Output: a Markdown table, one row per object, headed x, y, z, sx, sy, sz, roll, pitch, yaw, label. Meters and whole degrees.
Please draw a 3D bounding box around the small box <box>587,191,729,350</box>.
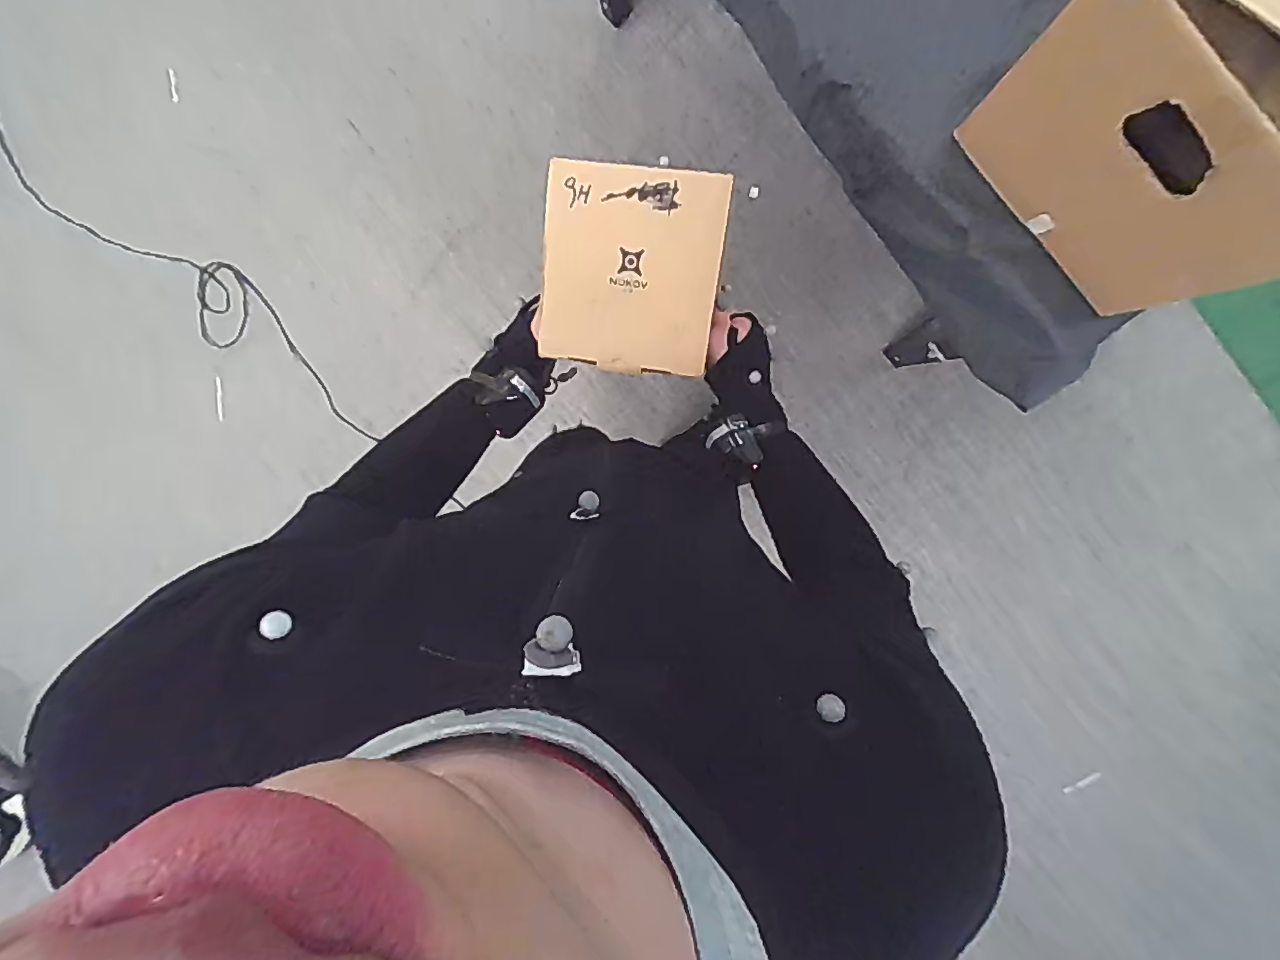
| x | y | z | sx | sy | sz | roll | pitch | yaw | label |
| --- | --- | --- | --- | --- | --- | --- | --- | --- | --- |
| 0.030 | -0.272 | 0.728 | 0.168 | 0.176 | 0.179 | 5 | 106 | 7 | small box |
